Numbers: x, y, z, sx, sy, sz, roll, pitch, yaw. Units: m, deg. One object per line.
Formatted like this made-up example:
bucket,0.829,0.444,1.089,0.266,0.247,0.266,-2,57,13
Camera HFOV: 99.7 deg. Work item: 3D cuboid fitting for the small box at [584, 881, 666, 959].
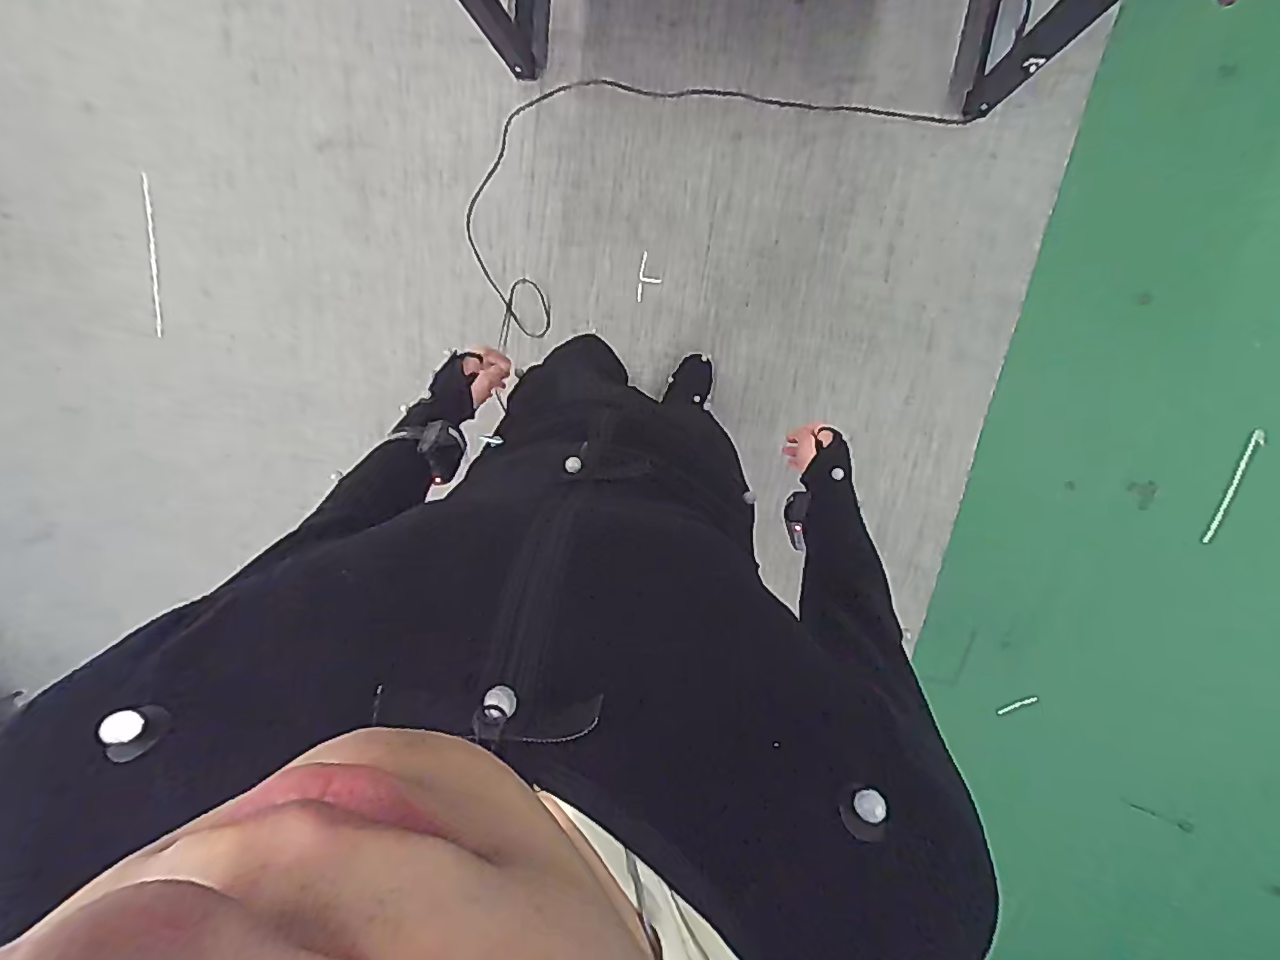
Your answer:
small box,-0.039,1.063,1.217,0.168,0.176,0.179,11,105,4
